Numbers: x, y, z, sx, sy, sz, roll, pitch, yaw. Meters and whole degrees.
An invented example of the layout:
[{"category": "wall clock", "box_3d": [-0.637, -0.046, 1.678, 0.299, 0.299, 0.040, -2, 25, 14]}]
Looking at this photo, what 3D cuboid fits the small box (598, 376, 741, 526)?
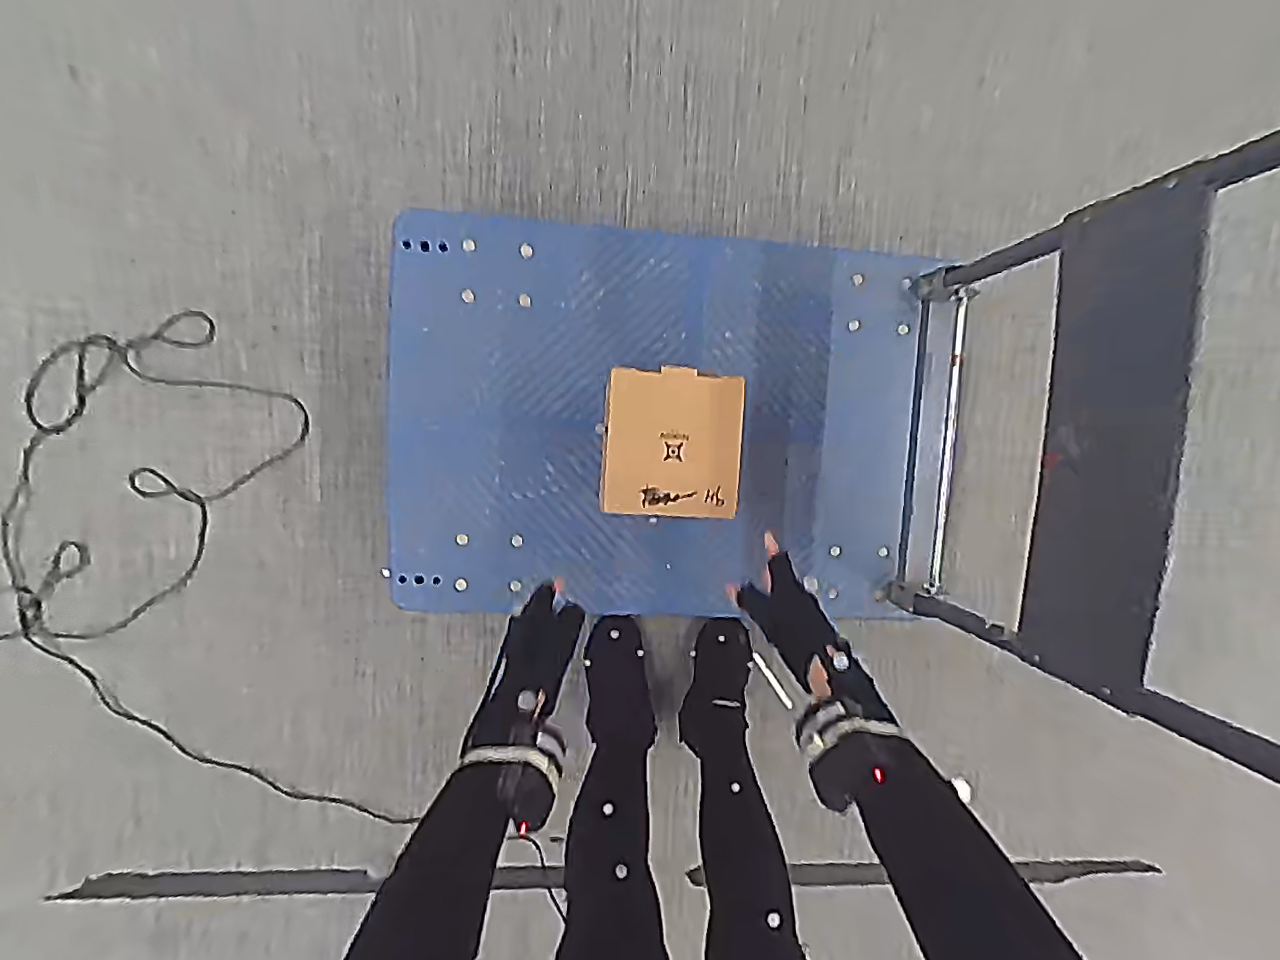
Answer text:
[{"category": "small box", "box_3d": [0.031, -0.037, 0.741, 0.168, 0.176, 0.179, 4, 92, -5]}]
